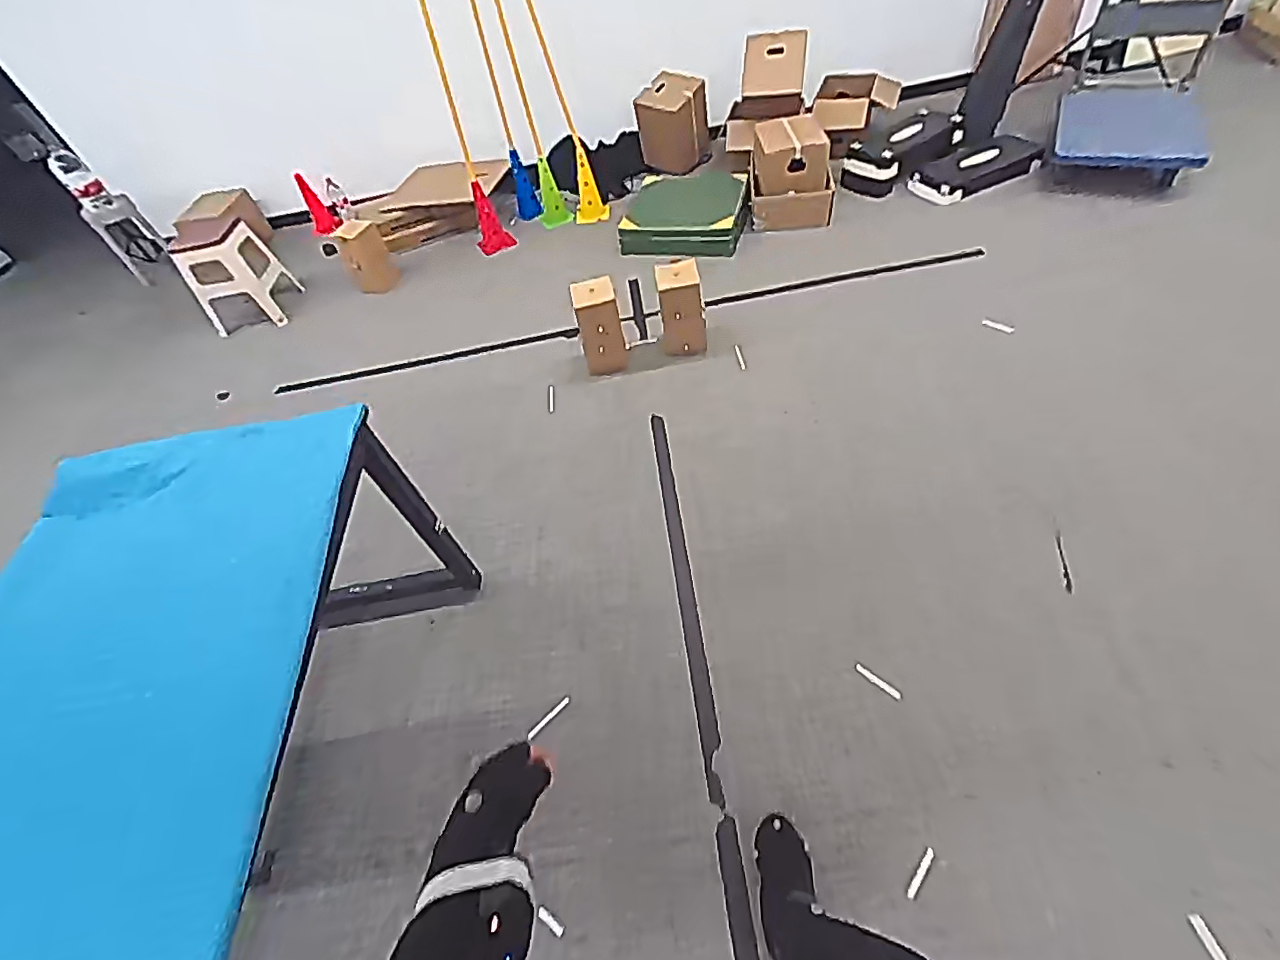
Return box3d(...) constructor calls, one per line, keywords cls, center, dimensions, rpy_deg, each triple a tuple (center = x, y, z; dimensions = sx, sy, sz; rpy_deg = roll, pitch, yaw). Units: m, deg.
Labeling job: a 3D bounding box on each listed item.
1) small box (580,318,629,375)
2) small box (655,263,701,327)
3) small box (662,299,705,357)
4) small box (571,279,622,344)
box3d(cls="small box", center=(-0.152, -0.570, 2.299), dimensions=(0.179, 0.176, 0.168), rpy_deg=(-12, 50, 0))
box3d(cls="small box", center=(0.153, -0.744, 2.176), dimensions=(0.168, 0.176, 0.179), rpy_deg=(-8, 51, 5))
box3d(cls="small box", center=(0.184, -0.647, 2.303), dimensions=(0.179, 0.176, 0.168), rpy_deg=(-6, 50, 3))
box3d(cls="small box", center=(-0.175, -0.677, 2.176), dimensions=(0.168, 0.176, 0.179), rpy_deg=(-14, 50, 0))
